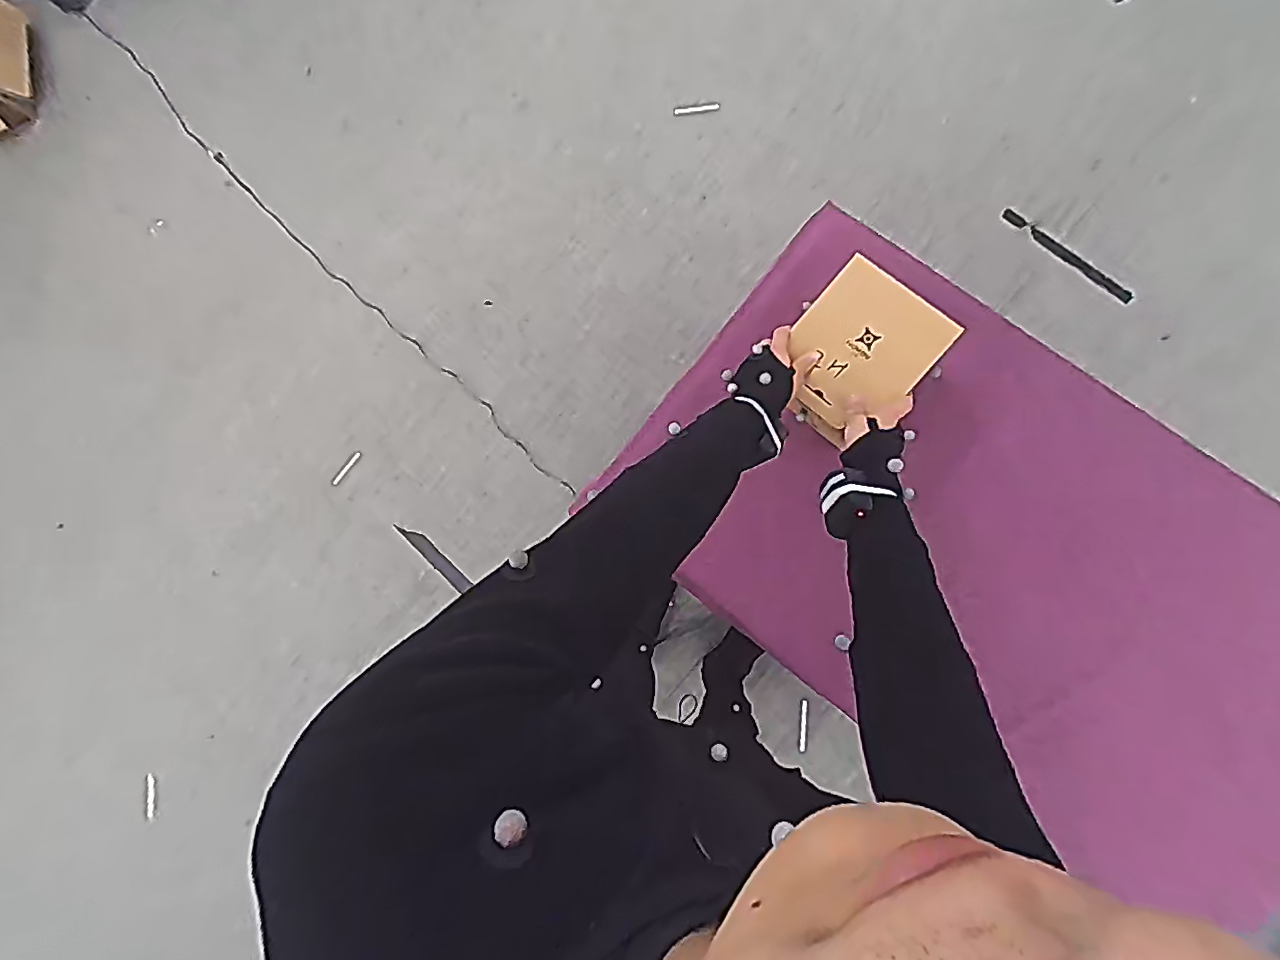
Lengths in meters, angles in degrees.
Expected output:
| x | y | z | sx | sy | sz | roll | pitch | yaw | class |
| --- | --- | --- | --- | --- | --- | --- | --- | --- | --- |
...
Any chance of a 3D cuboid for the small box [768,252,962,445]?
| x | y | z | sx | sy | sz | roll | pitch | yaw | class |
| --- | --- | --- | --- | --- | --- | --- | --- | --- | --- |
| 0.296 | -0.171 | 0.761 | 0.168 | 0.176 | 0.179 | 42 | 94 | 10 | small box |
